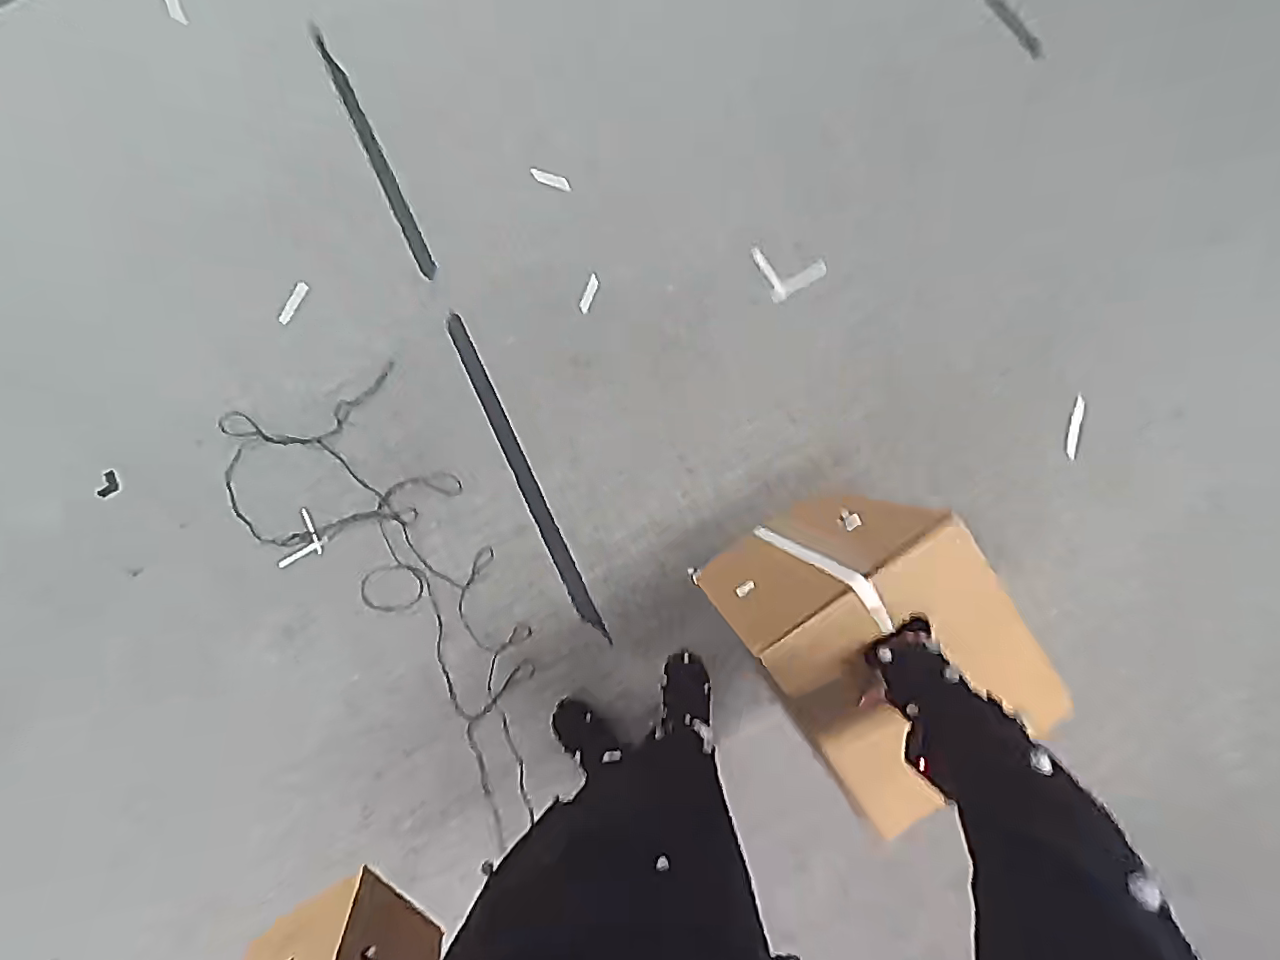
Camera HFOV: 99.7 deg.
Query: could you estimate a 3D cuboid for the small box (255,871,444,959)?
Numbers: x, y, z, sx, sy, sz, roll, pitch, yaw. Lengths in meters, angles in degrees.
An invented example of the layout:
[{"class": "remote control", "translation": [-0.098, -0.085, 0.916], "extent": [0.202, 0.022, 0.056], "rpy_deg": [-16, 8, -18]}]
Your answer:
[{"class": "small box", "translation": [-0.360, 0.636, 0.646], "extent": [0.168, 0.179, 0.176], "rpy_deg": [-33, 108, -1]}]
